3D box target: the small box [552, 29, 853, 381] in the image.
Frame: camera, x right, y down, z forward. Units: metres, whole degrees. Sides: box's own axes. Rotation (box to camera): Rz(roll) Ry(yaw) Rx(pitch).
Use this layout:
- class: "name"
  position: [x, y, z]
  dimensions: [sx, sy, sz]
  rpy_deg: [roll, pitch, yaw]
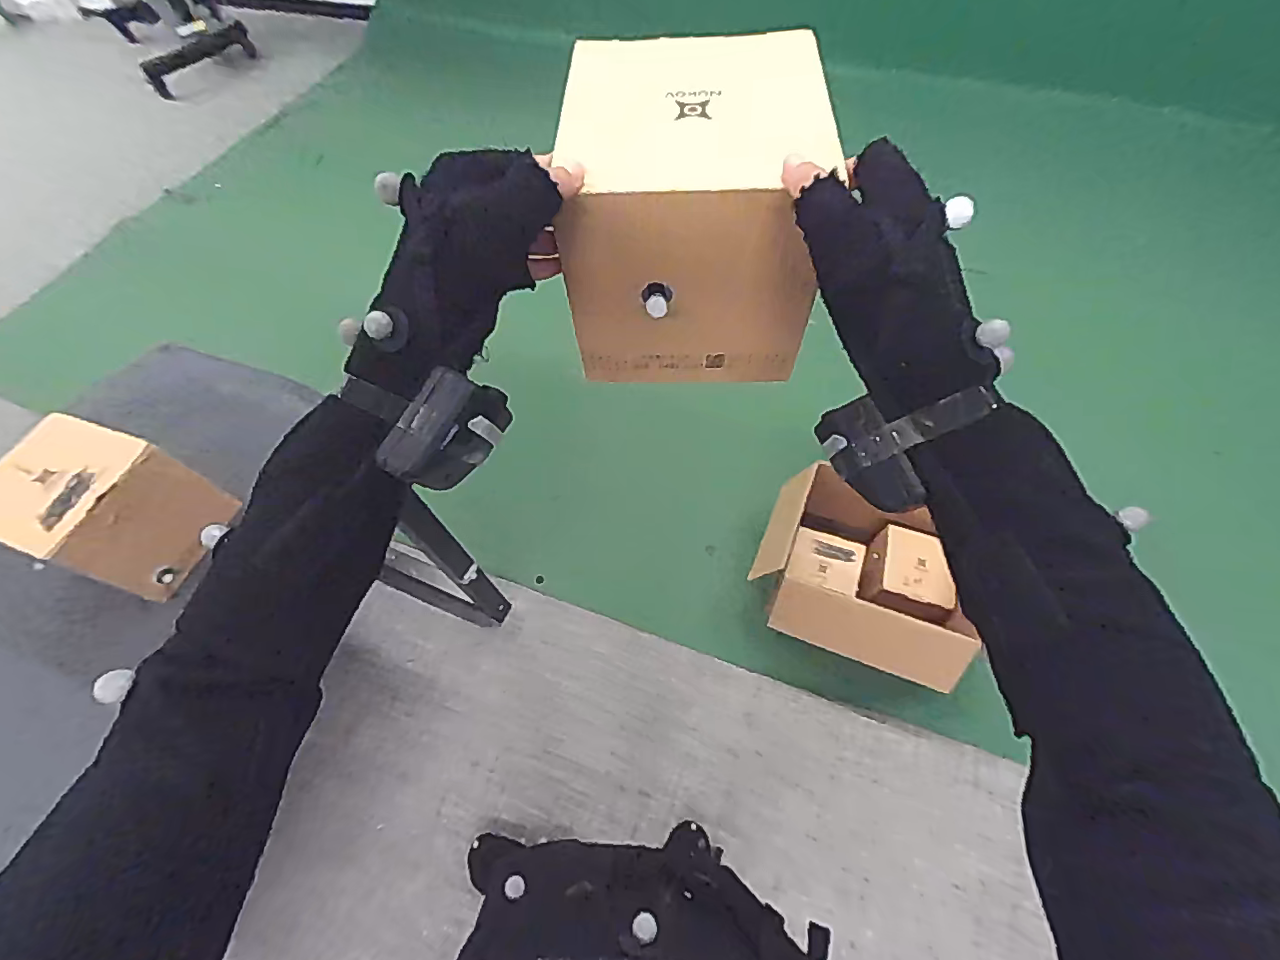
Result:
- class: "small box"
  position: [0.041, -0.188, 0.398]
  dimensions: [0.168, 0.176, 0.179]
  rpy_deg: [1, 60, 4]

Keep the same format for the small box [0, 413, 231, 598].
- class: "small box"
  position: [-0.711, 0.041, 0.720]
  dimensions: [0.179, 0.176, 0.168]
  rpy_deg: [15, 61, 13]
